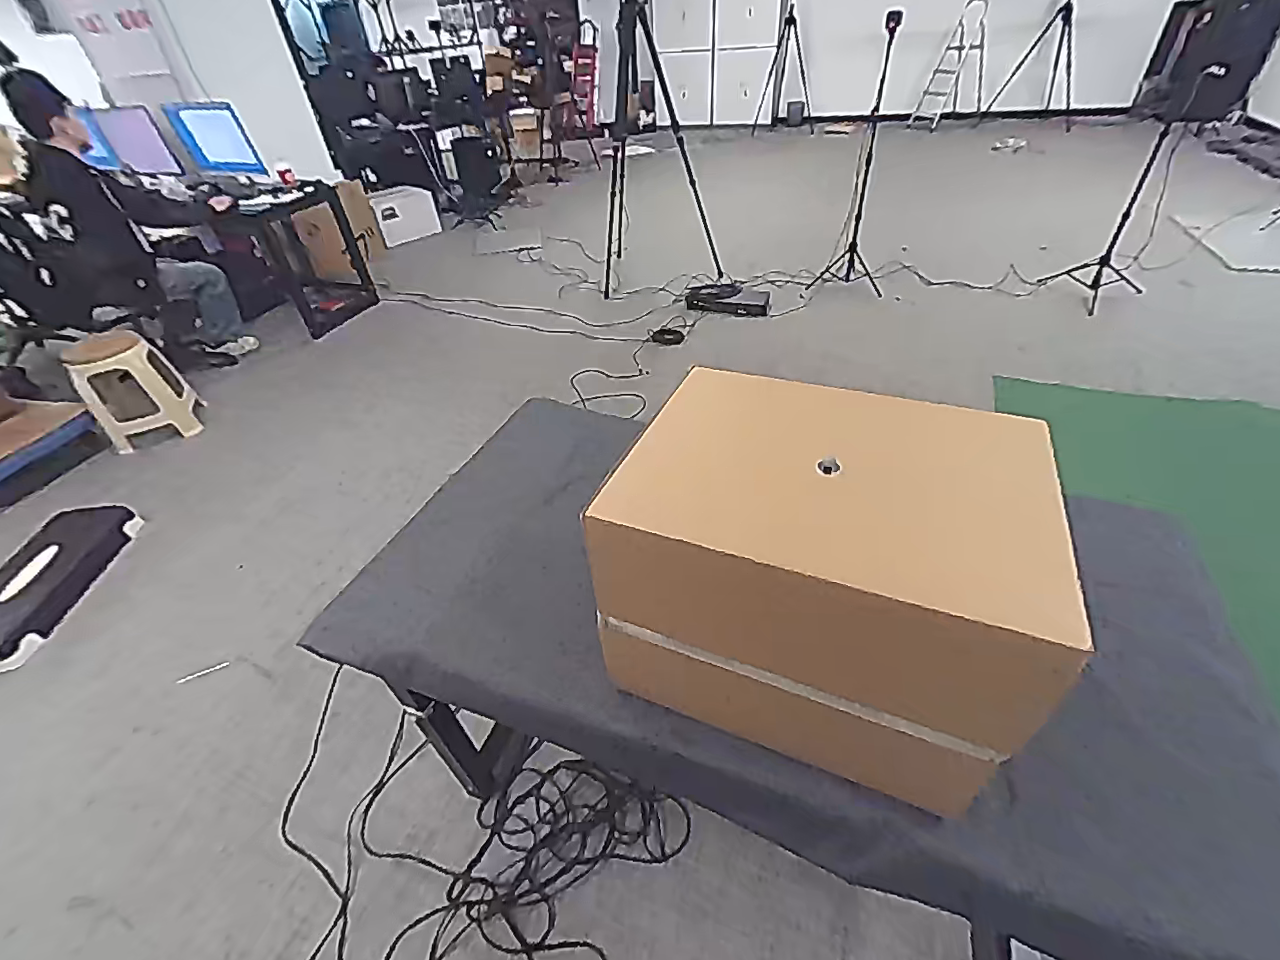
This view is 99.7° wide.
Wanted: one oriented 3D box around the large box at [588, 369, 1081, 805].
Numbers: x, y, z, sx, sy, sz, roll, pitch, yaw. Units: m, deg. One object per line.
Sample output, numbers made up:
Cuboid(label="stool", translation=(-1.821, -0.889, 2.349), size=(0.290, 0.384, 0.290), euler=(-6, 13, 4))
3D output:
Cuboid(label="large box", translation=(0.197, 0.105, 0.642), size=(0.408, 0.320, 0.320), euler=(13, 42, 19))
